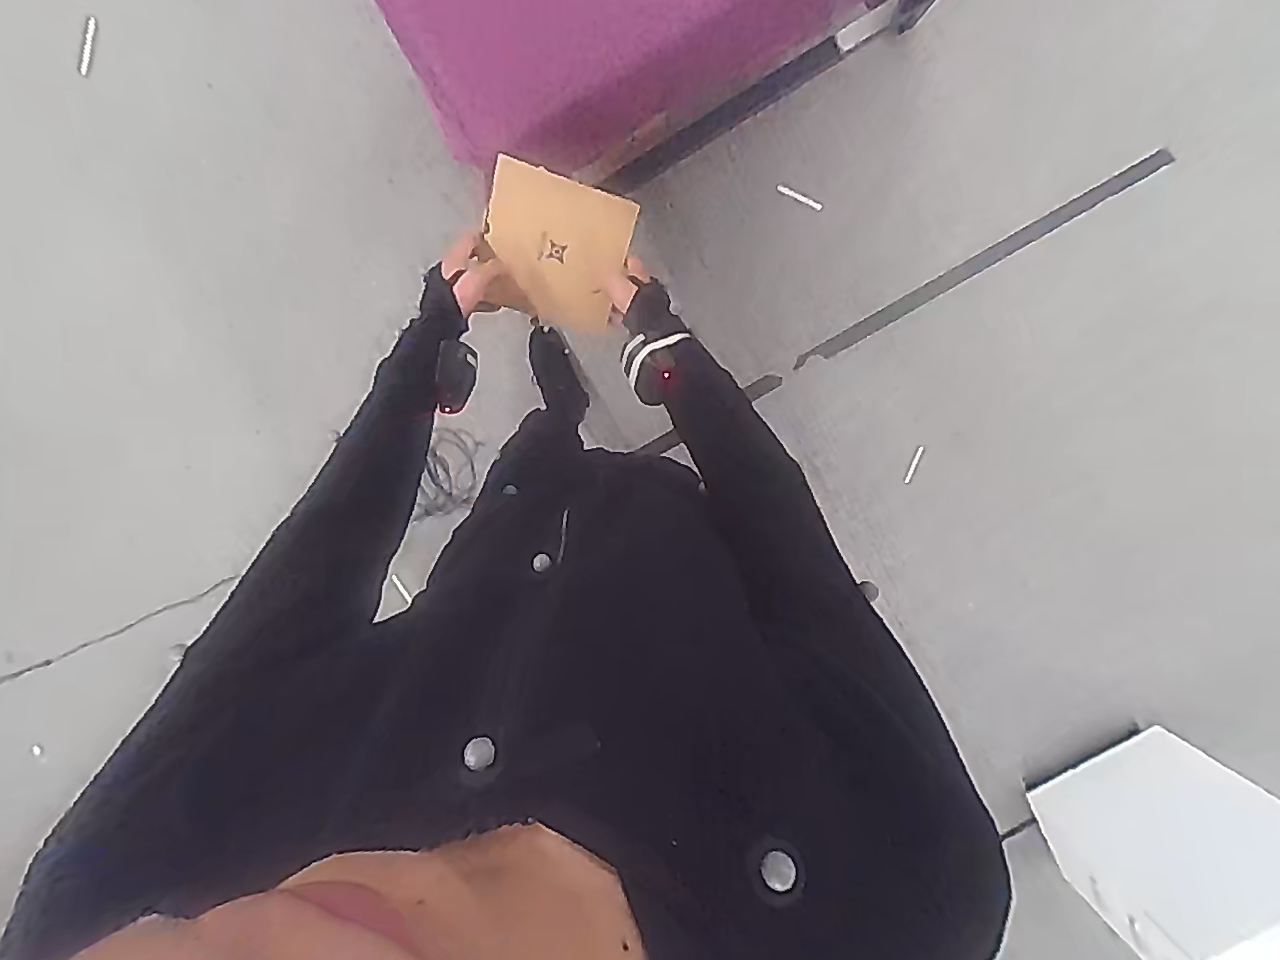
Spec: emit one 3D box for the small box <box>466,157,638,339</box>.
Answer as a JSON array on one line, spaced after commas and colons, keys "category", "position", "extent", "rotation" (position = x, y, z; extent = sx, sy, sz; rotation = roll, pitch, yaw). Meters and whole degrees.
[{"category": "small box", "position": [-0.116, -0.301, 0.733], "extent": [0.179, 0.176, 0.168], "rotation": [16, 107, -11]}]
